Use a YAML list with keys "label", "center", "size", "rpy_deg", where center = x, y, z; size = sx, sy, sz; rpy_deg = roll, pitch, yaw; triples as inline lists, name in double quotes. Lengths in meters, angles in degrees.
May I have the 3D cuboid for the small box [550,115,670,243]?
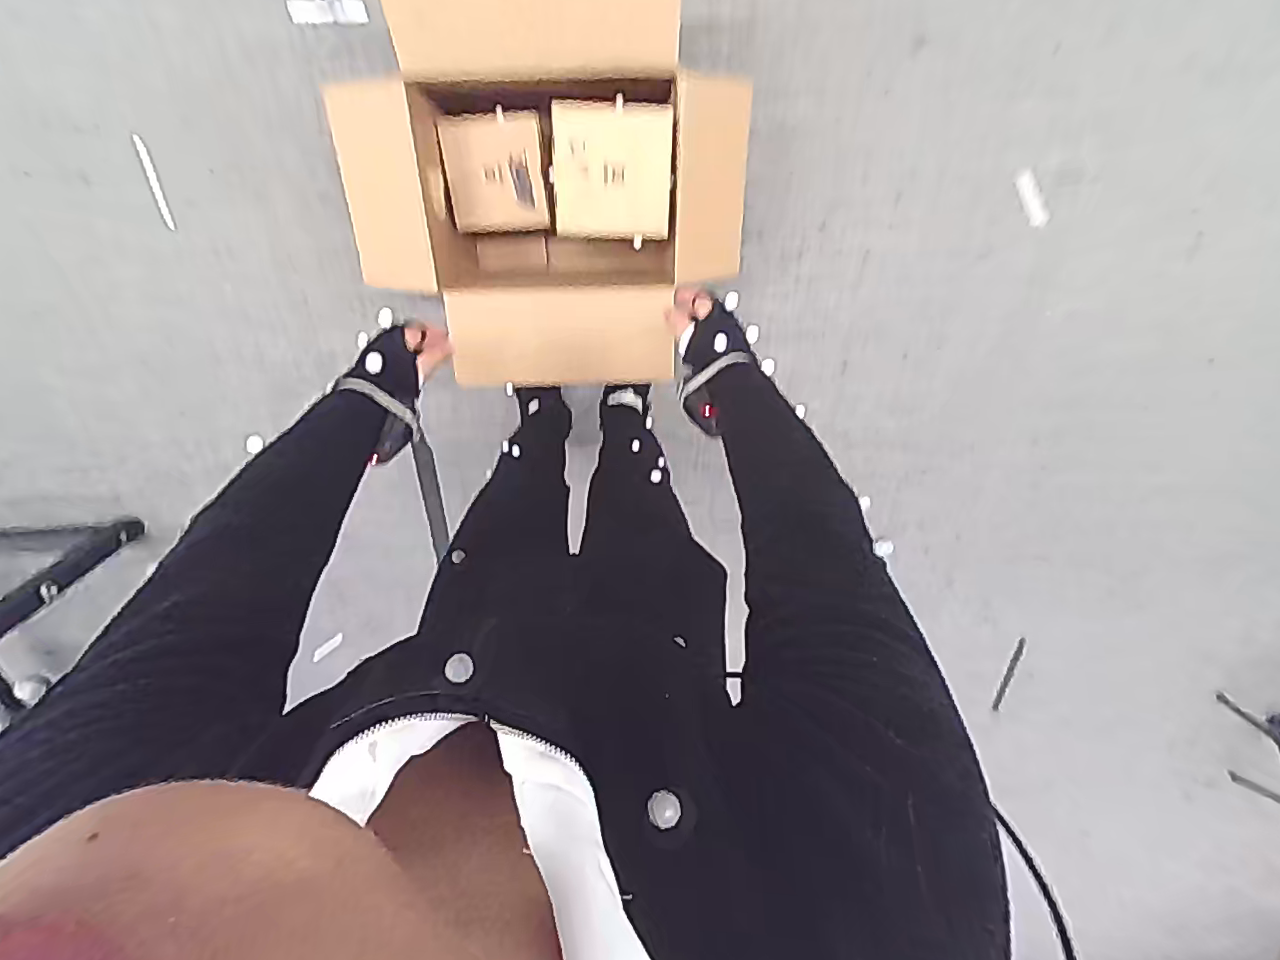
- label: "small box"
  center: [-0.050, -0.485, 0.883]
  size: [0.179, 0.176, 0.168]
  rpy_deg: [0, 116, -3]
